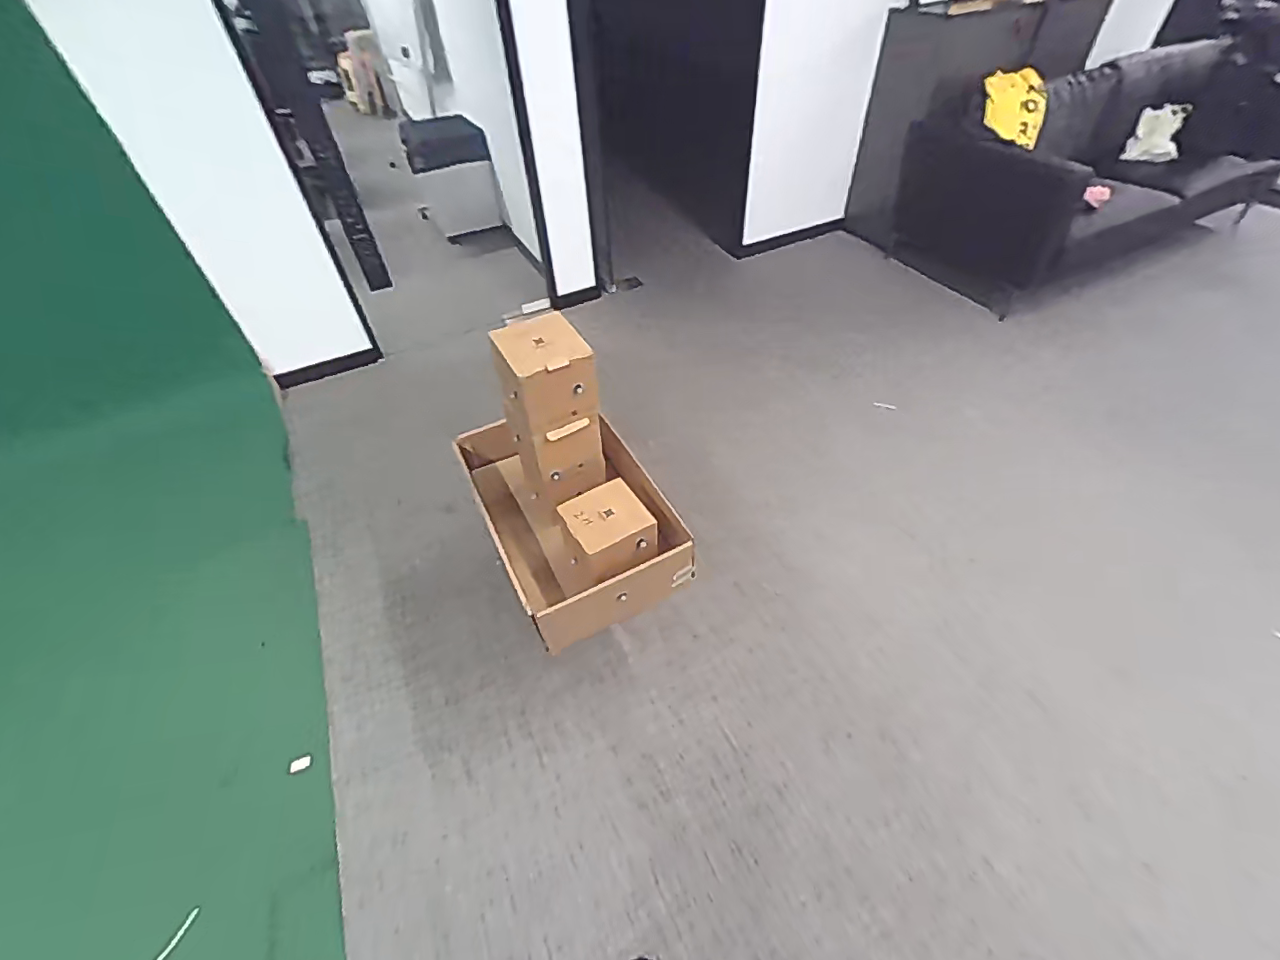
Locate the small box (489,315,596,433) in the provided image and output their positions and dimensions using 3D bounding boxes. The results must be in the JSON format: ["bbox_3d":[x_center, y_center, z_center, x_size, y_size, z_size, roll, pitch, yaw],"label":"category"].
[{"bbox_3d":[-0.204,-0.223,1.171,0.168,0.176,0.179,-24,53,-19],"label":"small box"}]

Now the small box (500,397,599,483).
[{"bbox_3d":[-0.209,-0.114,1.292,0.168,0.176,0.179,-27,54,-21],"label":"small box"}]
